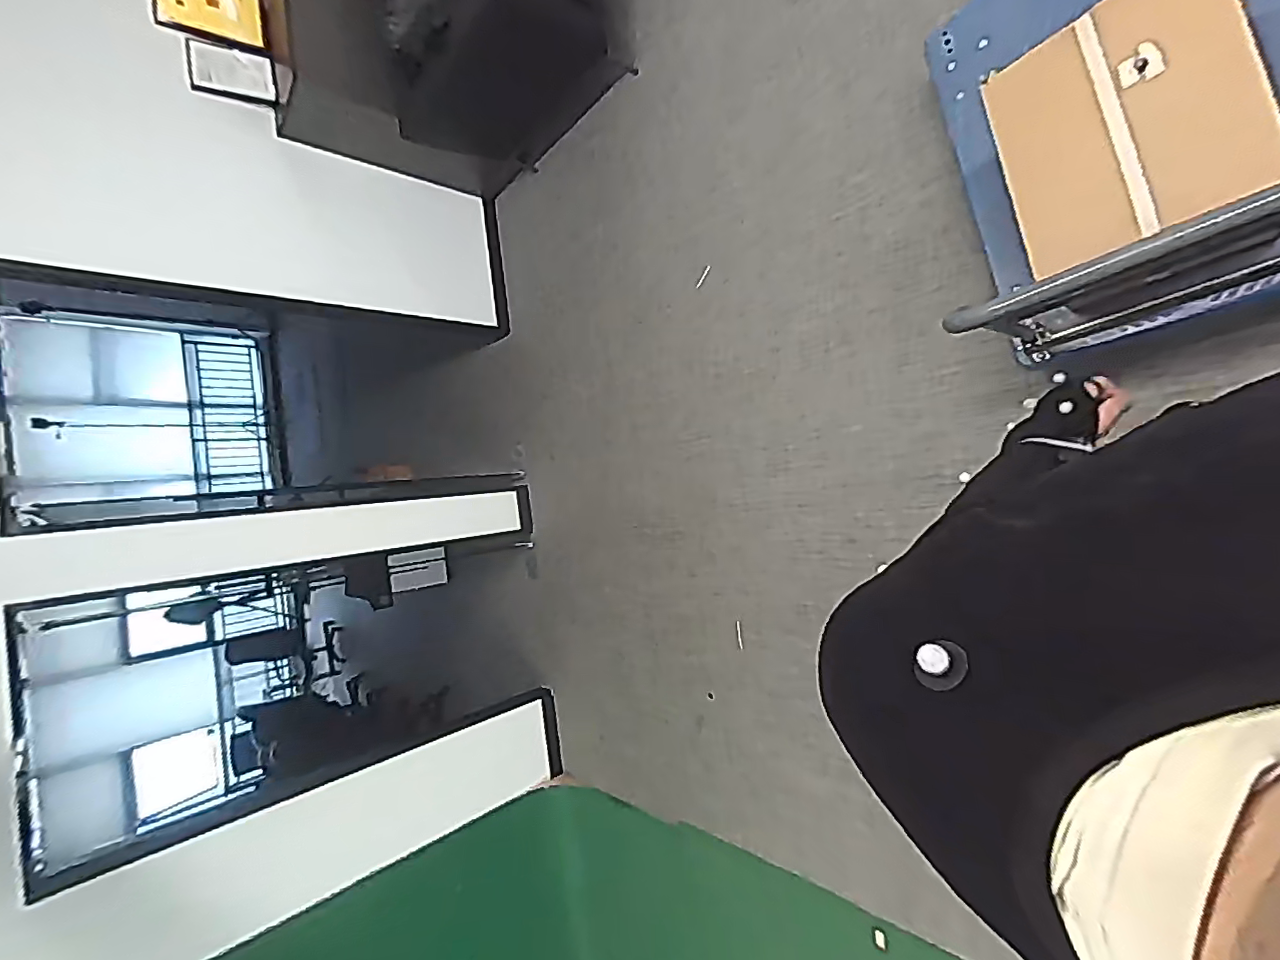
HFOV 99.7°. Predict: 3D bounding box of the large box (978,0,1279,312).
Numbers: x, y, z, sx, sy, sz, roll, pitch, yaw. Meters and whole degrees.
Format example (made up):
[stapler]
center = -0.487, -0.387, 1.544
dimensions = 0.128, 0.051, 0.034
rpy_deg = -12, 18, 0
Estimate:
[large box]
center = 0.887, -0.578, 0.986
dimensions = 0.320, 0.320, 0.408
rpy_deg = -19, 79, 46
